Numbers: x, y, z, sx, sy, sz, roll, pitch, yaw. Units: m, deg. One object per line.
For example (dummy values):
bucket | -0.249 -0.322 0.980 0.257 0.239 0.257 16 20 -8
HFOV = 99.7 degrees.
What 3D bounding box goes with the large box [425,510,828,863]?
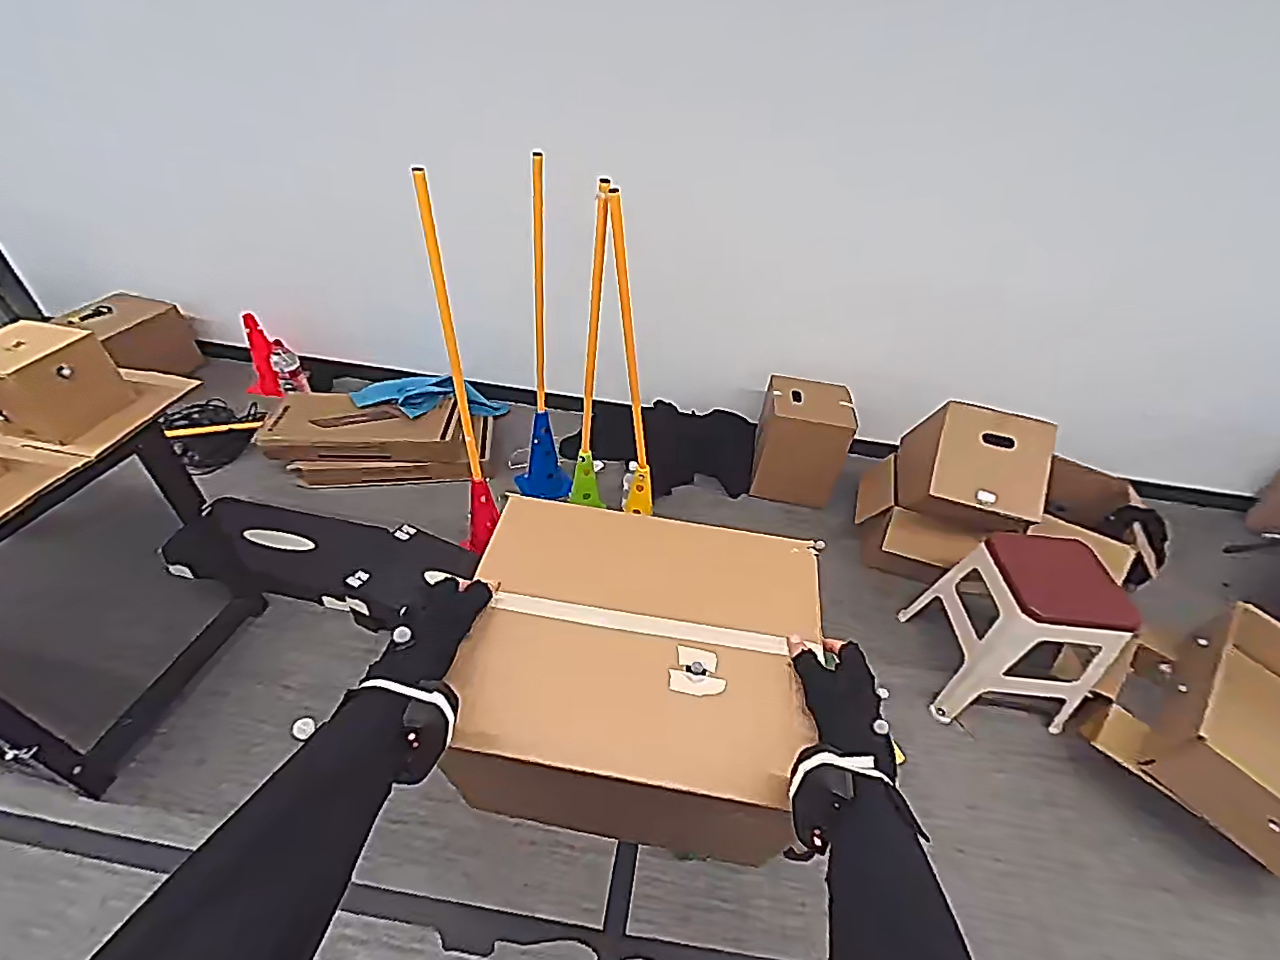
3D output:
large box | -0.007 0.277 0.728 0.408 0.320 0.320 9 48 3
